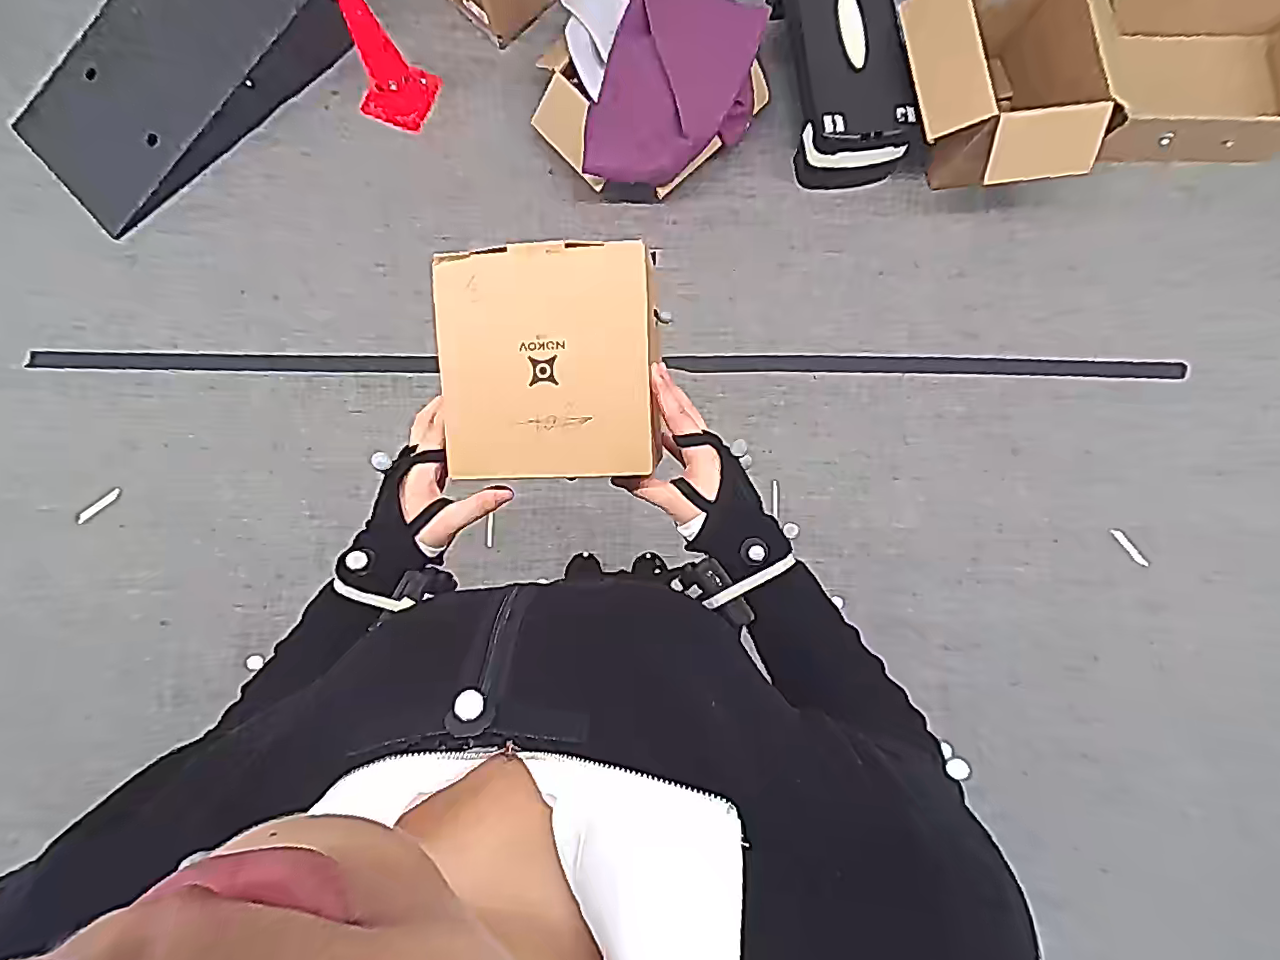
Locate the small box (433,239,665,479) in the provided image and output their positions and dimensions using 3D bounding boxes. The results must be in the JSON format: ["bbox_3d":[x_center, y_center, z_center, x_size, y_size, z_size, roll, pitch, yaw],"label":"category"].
[{"bbox_3d":[-0.066,-0.098,0.488,0.168,0.176,0.179,-2,97,7],"label":"small box"}]
